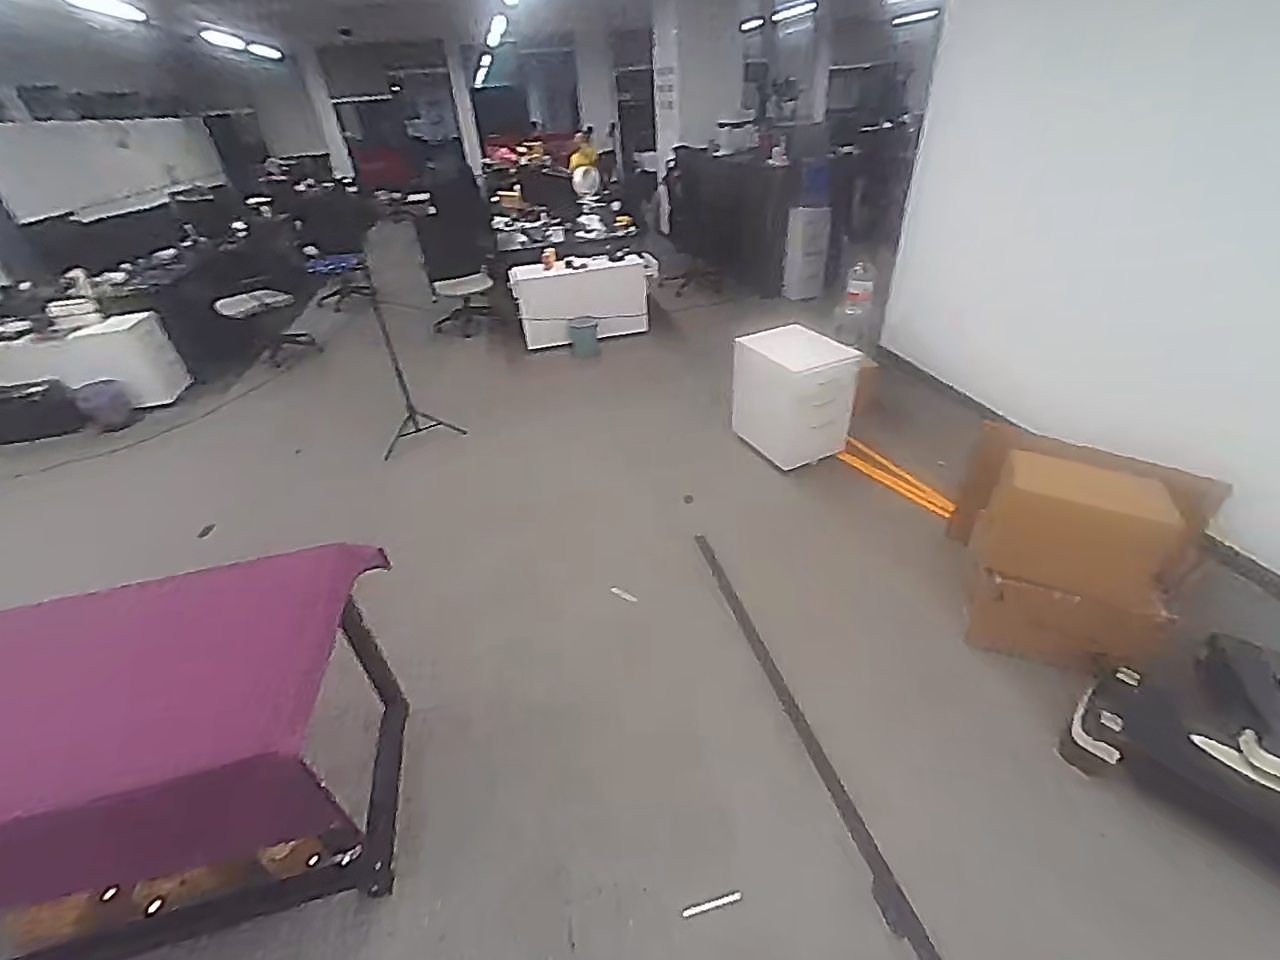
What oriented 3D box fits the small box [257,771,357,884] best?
[{"bbox_3d":[-0.924,0.968,1.506,0.168,0.176,0.179,-31,43,-31],"label":"small box"}]
